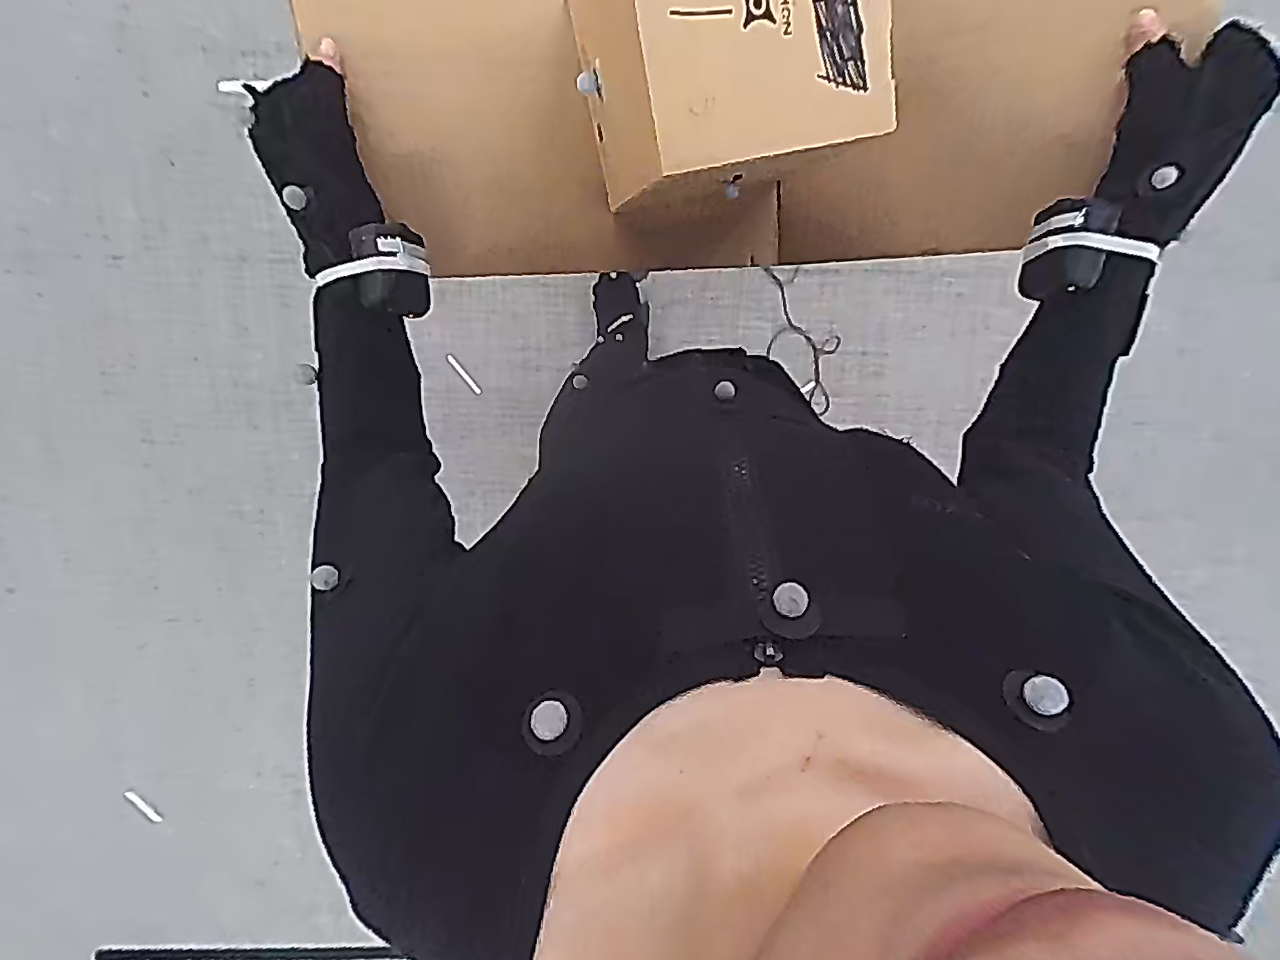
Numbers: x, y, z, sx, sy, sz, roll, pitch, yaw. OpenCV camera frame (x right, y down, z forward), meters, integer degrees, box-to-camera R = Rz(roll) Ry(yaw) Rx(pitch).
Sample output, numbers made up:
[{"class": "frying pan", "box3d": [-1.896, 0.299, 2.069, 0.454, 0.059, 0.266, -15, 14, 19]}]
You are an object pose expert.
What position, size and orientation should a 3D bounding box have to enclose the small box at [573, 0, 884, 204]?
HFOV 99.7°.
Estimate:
[{"class": "small box", "box3d": [0.059, -0.327, 0.418, 0.179, 0.176, 0.168, -16, 111, -9]}]
